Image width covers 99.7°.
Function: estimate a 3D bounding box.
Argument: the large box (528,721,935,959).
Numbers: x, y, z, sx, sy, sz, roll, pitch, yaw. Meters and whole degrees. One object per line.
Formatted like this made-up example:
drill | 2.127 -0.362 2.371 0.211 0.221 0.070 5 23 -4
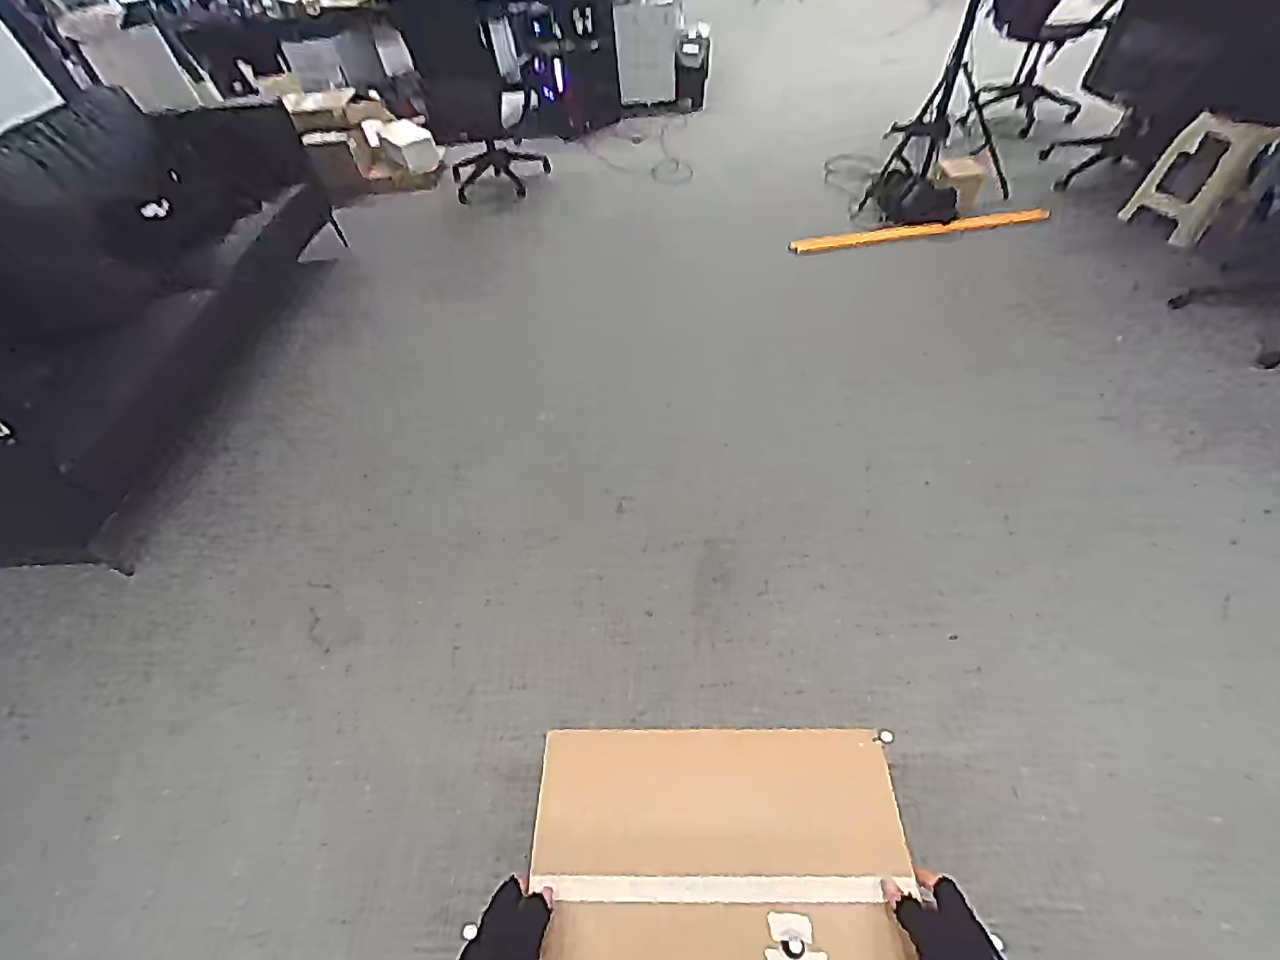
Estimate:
large box | 0.092 0.514 0.680 0.408 0.320 0.320 -1 50 2
